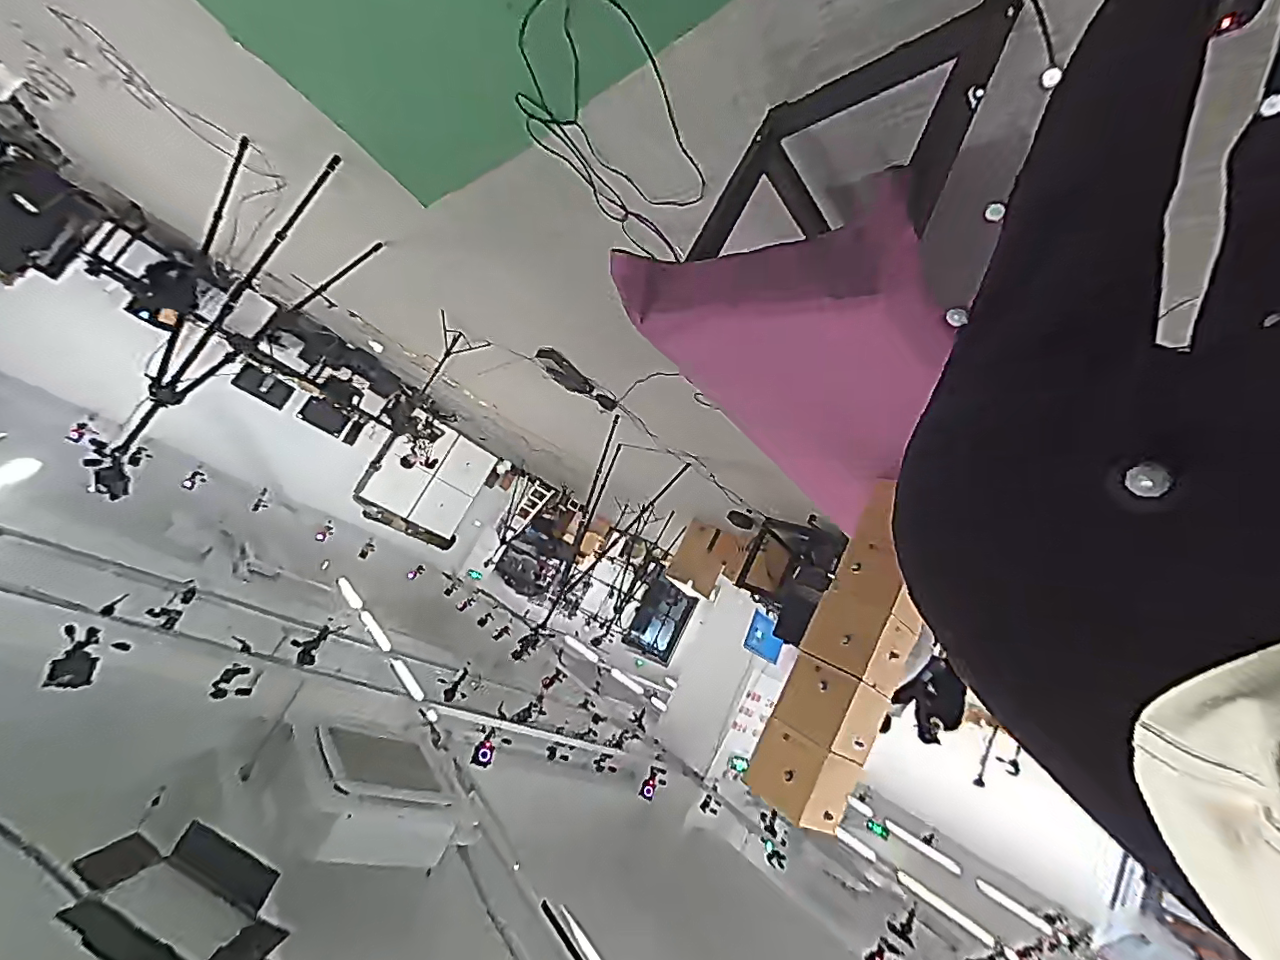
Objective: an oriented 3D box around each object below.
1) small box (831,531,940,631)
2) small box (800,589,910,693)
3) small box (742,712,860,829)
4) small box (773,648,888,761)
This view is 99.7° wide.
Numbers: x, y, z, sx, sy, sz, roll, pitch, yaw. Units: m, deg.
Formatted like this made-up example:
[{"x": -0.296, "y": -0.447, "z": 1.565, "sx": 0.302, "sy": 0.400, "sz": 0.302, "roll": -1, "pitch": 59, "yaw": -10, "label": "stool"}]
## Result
[{"x": 0.609, "y": 0.244, "z": 1.339, "sx": 0.179, "sy": 0.176, "sz": 0.168, "roll": 37, "pitch": 166, "yaw": -36, "label": "small box"}, {"x": 0.530, "y": 0.383, "z": 1.312, "sx": 0.168, "sy": 0.176, "sz": 0.179, "roll": 37, "pitch": 166, "yaw": -35, "label": "small box"}, {"x": 0.372, "y": 0.662, "z": 1.246, "sx": 0.179, "sy": 0.176, "sz": 0.168, "roll": 36, "pitch": 167, "yaw": -35, "label": "small box"}, {"x": 0.454, "y": 0.525, "z": 1.277, "sx": 0.179, "sy": 0.176, "sz": 0.168, "roll": 38, "pitch": 166, "yaw": -35, "label": "small box"}]
